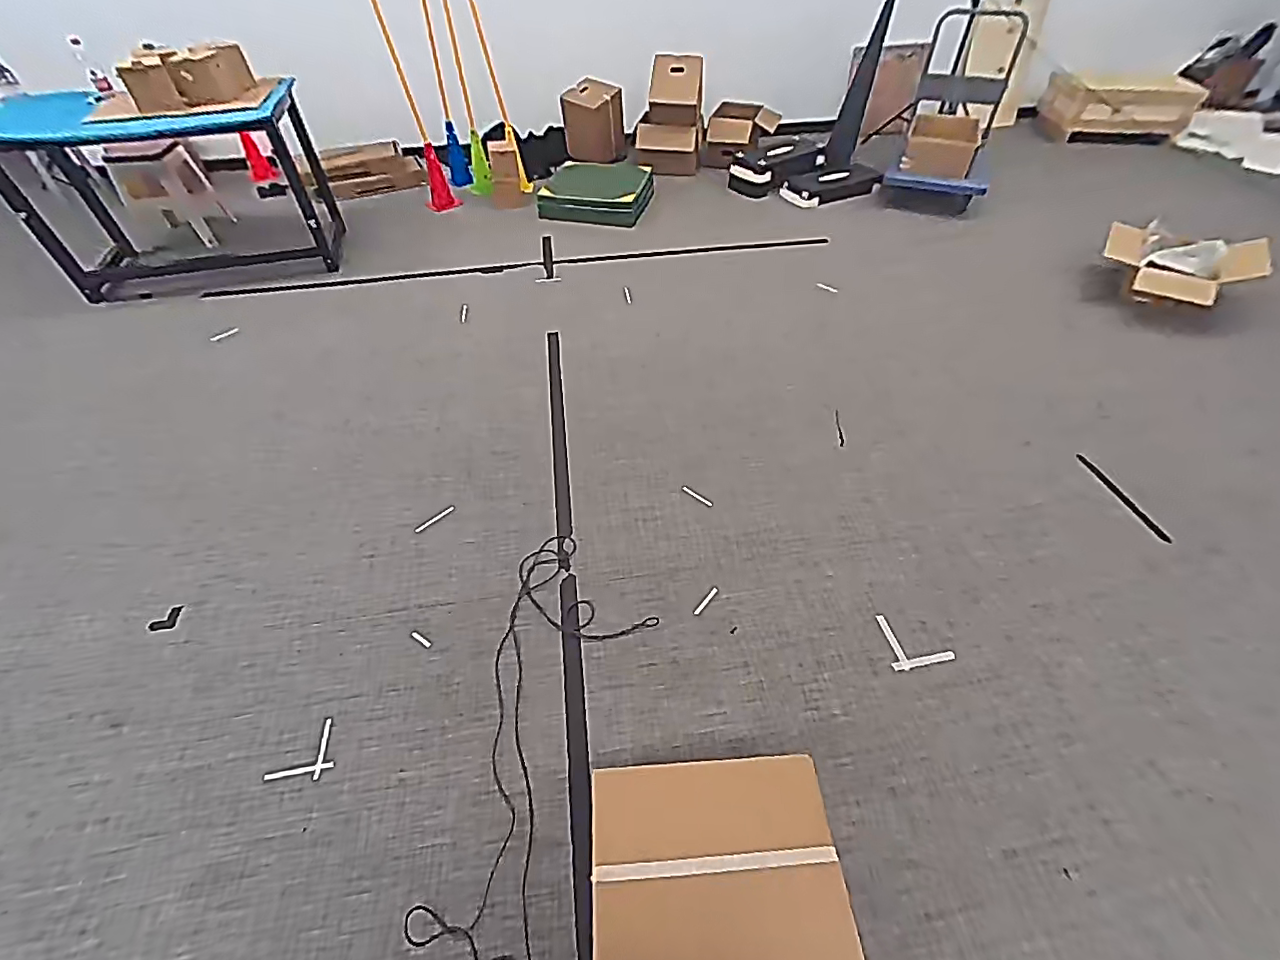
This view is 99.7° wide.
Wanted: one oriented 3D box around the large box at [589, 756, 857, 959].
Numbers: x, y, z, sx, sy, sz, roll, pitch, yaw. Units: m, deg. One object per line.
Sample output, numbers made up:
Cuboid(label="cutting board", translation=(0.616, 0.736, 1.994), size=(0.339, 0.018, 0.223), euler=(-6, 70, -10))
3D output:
Cuboid(label="large box", translation=(0.119, 0.735, 0.998), size=(0.408, 0.320, 0.320), euler=(-3, 46, -2))
